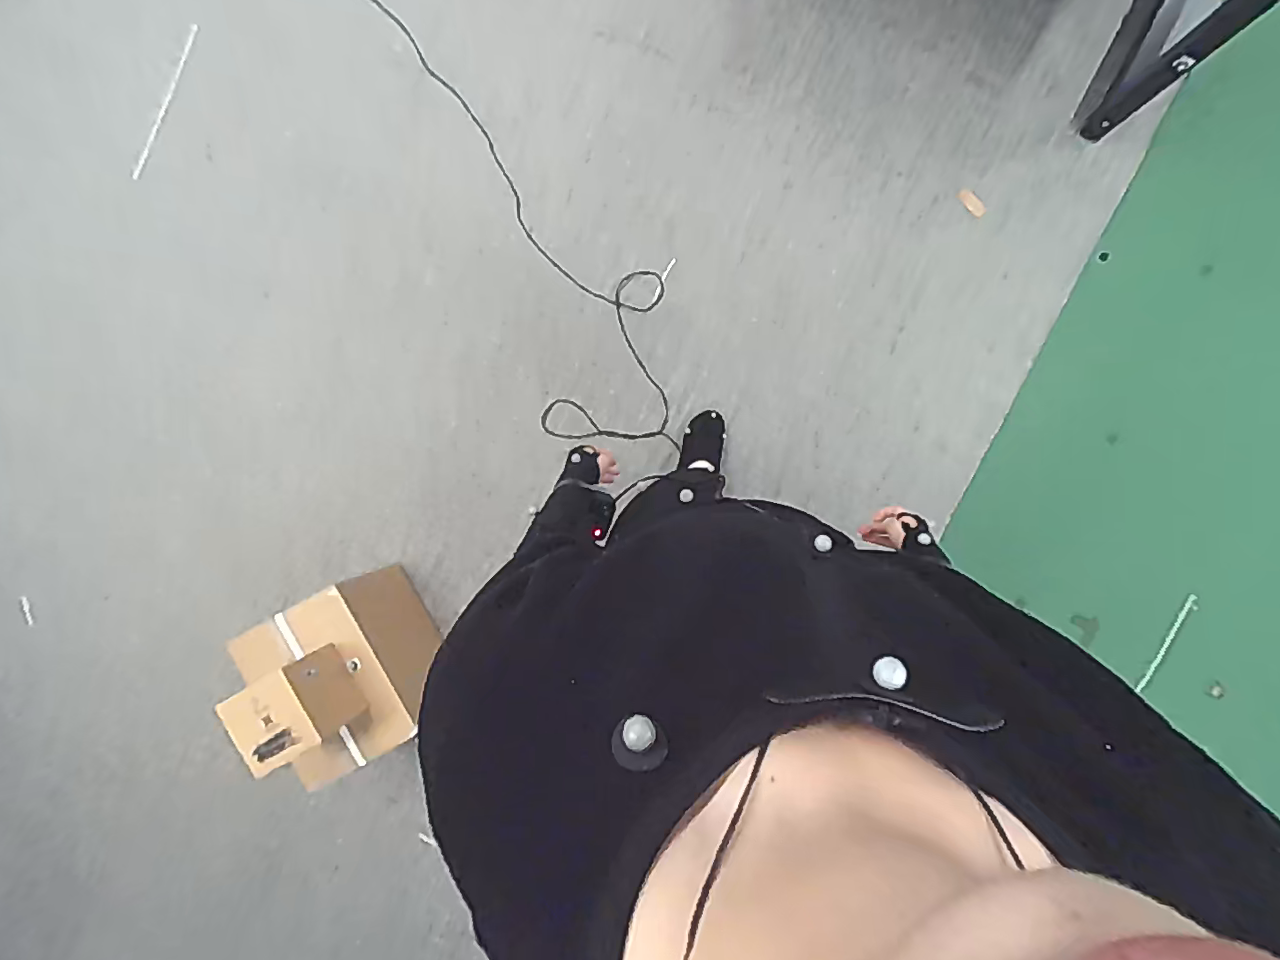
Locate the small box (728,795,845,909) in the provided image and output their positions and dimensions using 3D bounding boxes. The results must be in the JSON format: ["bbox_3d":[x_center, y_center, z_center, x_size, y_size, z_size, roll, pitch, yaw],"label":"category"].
[{"bbox_3d":[0.291,0.790,1.114,0.179,0.176,0.168,16,91,3],"label":"small box"}]
